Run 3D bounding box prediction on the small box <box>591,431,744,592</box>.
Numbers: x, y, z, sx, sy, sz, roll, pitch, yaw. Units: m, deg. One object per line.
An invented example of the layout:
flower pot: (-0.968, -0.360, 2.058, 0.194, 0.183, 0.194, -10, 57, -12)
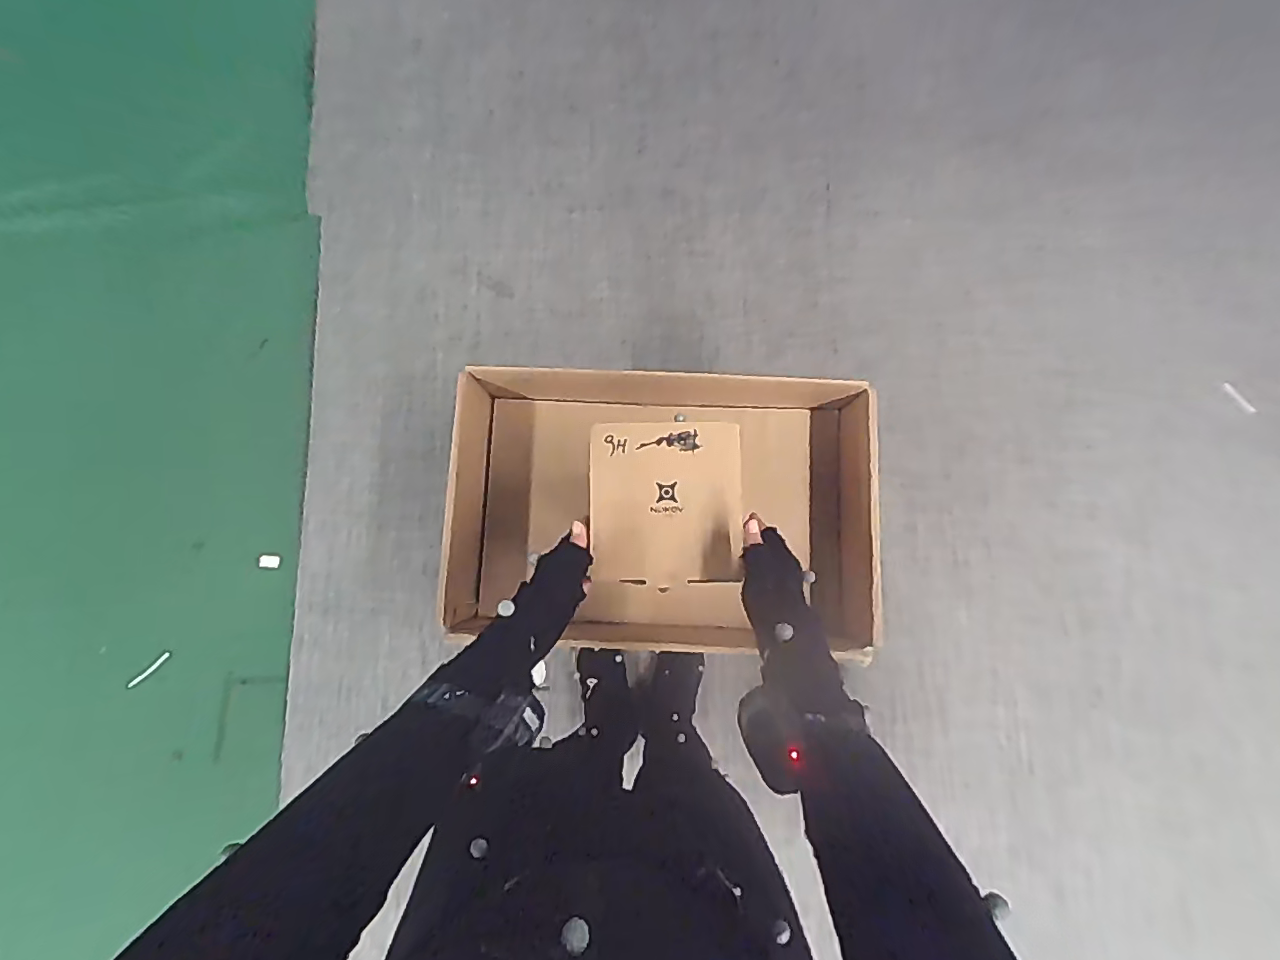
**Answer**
small box: (0.032, 0.042, 0.664, 0.168, 0.176, 0.179, 0, 82, 1)
